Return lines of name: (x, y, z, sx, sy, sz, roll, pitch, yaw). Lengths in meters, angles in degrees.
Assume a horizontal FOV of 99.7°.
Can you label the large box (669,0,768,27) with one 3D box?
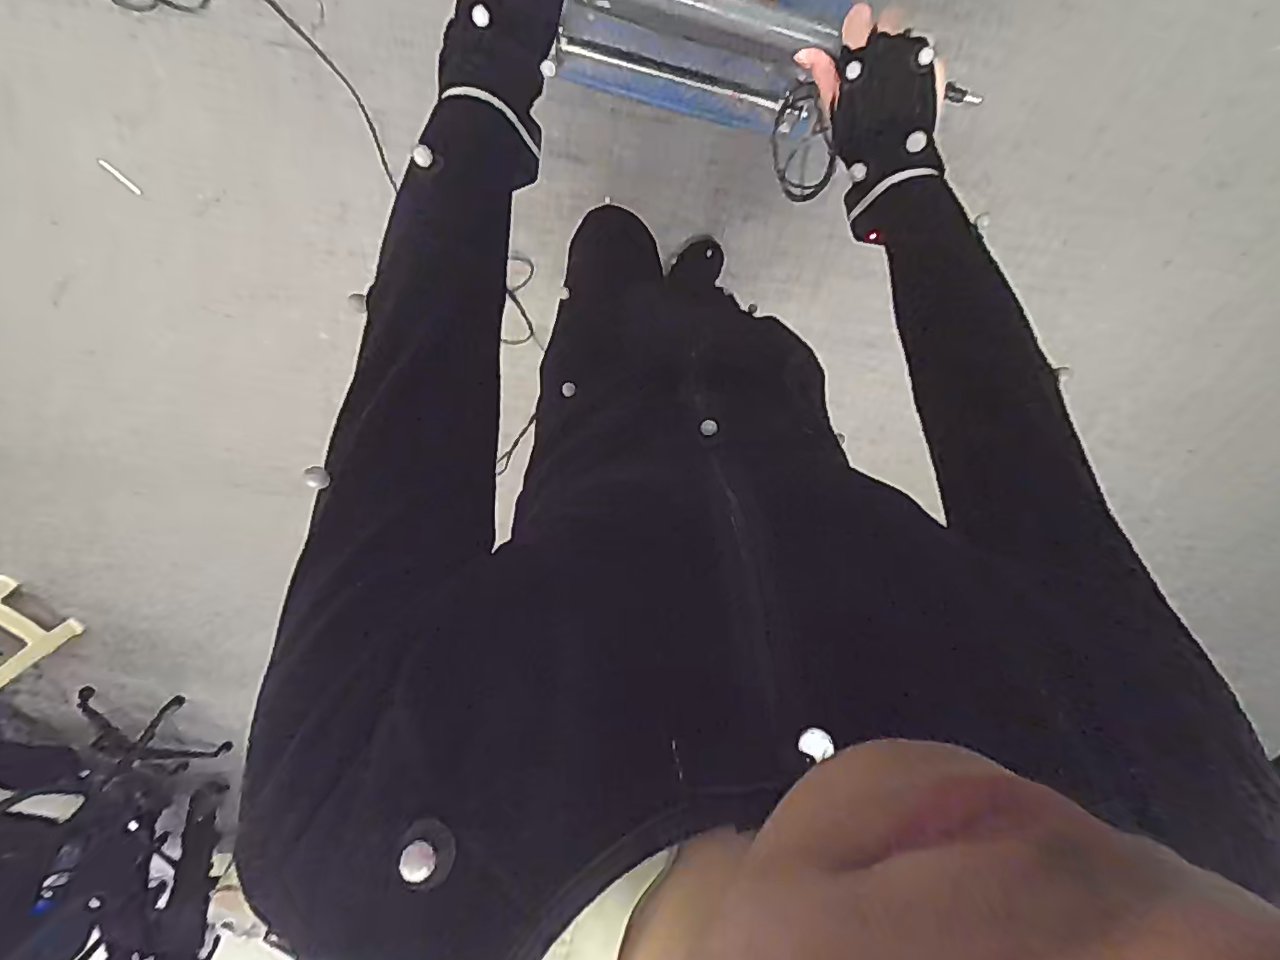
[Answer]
large box: (0.103, -0.959, 0.764, 0.320, 0.320, 0.408, 14, 121, -7)
